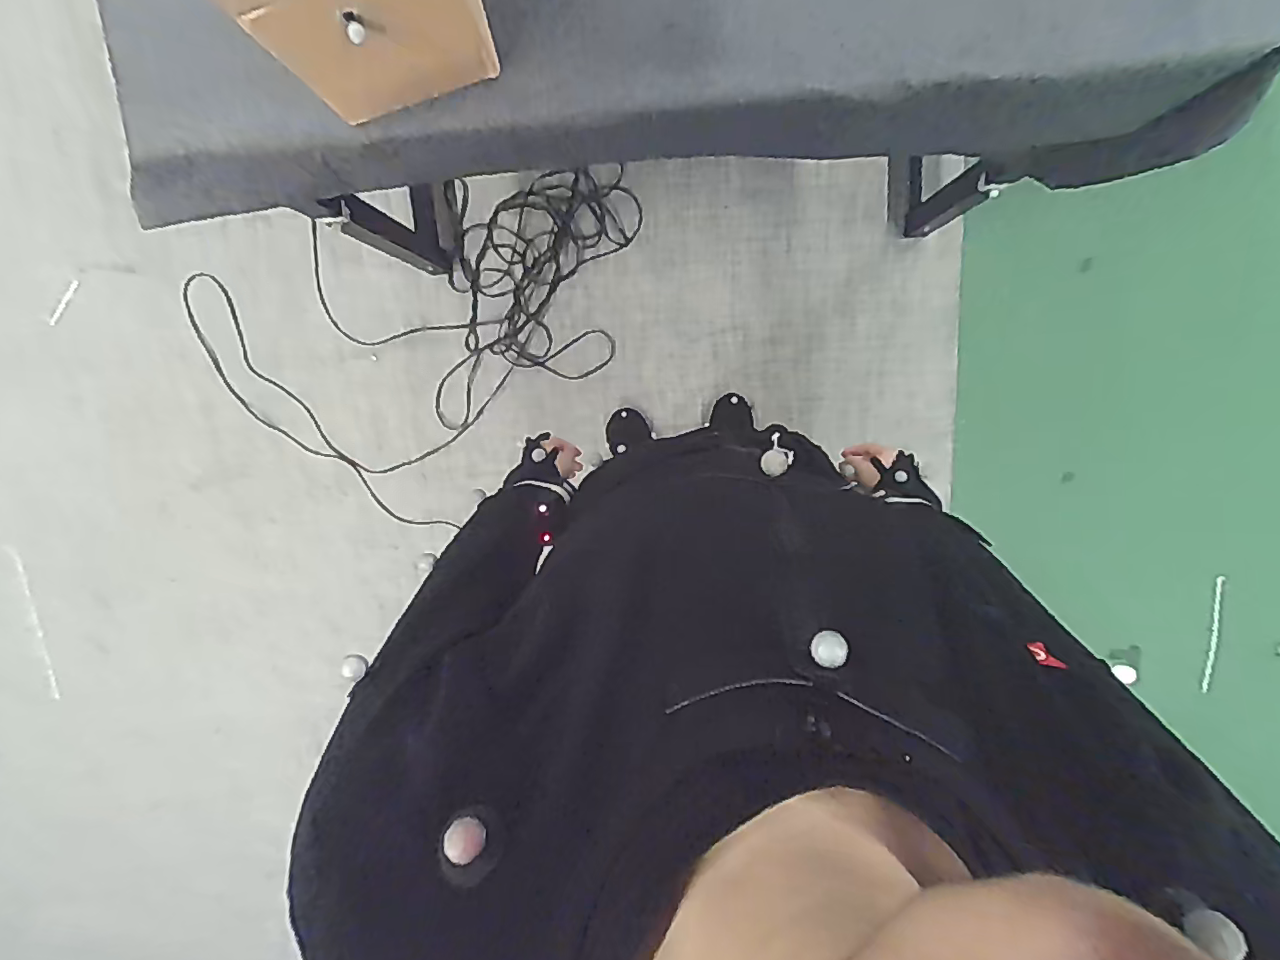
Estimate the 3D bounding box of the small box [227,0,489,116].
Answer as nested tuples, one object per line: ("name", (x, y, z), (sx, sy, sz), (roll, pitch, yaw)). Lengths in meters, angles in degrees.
("small box", (-0.251, -0.470, 0.482), (0.179, 0.176, 0.168), (-14, 98, 5))
